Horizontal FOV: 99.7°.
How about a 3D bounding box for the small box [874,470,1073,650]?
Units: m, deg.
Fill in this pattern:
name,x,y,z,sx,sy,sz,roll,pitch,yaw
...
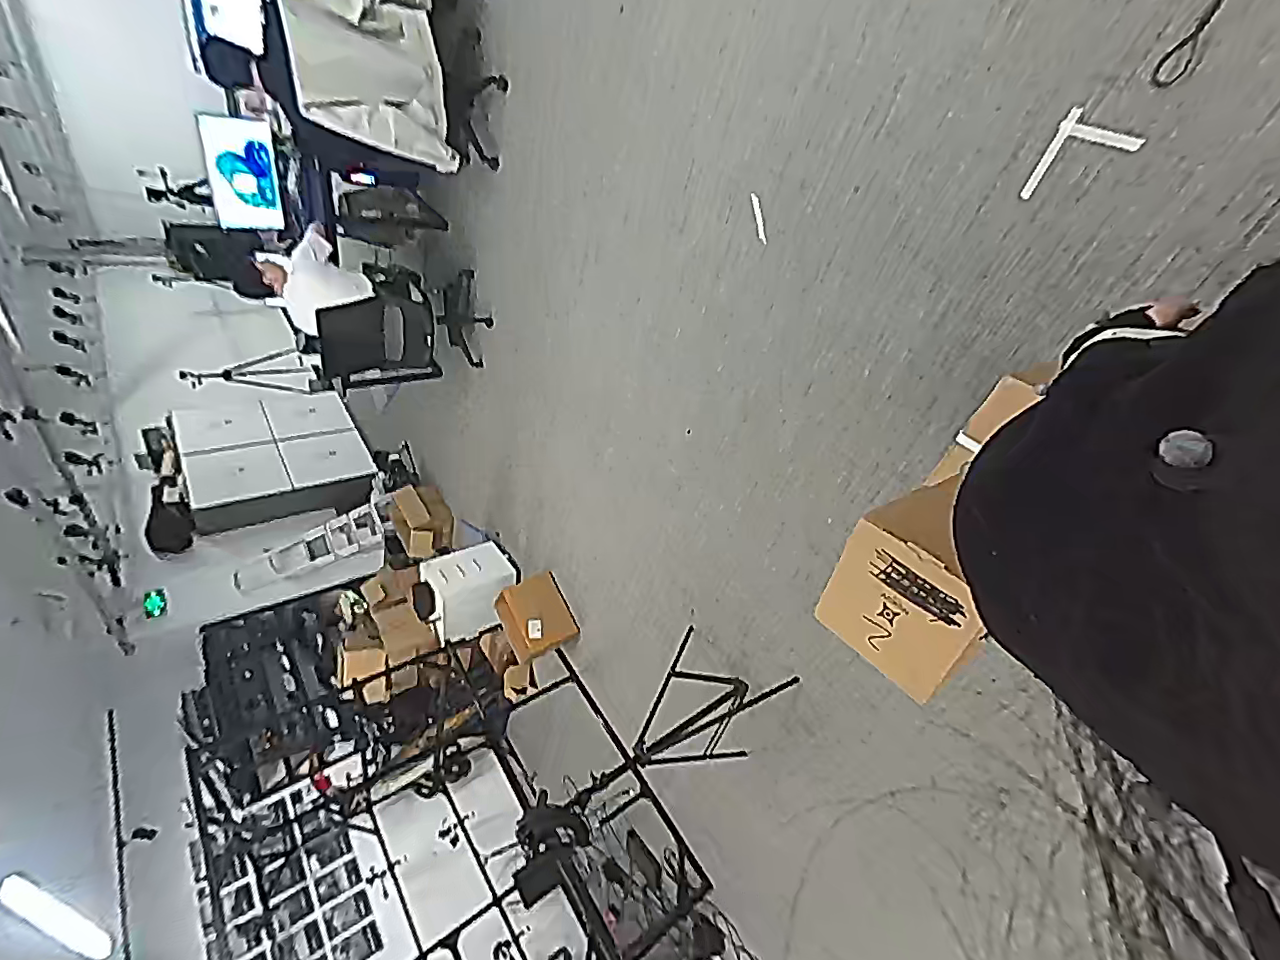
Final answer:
name,x,y,z,sx,sy,sz,roll,pitch,yaw
small box,0.488,0.106,0.792,0.168,0.176,0.179,42,133,38
